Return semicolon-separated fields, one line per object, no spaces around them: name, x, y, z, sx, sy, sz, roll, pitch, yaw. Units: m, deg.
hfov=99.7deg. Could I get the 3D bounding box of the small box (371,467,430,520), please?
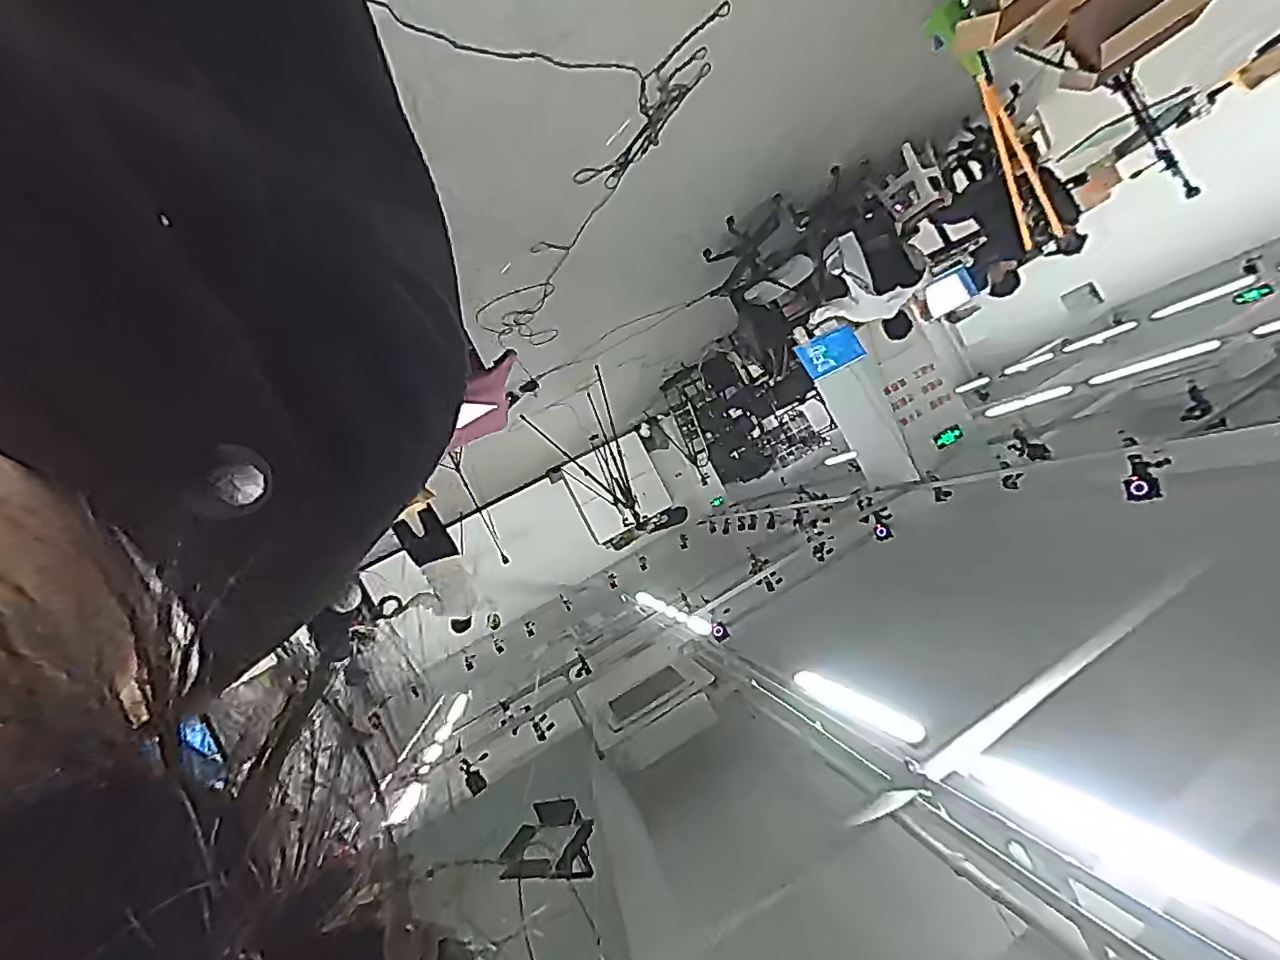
small box;-1.045;0.058;2.359;0.168;0.176;0.179;-27;177;-15
